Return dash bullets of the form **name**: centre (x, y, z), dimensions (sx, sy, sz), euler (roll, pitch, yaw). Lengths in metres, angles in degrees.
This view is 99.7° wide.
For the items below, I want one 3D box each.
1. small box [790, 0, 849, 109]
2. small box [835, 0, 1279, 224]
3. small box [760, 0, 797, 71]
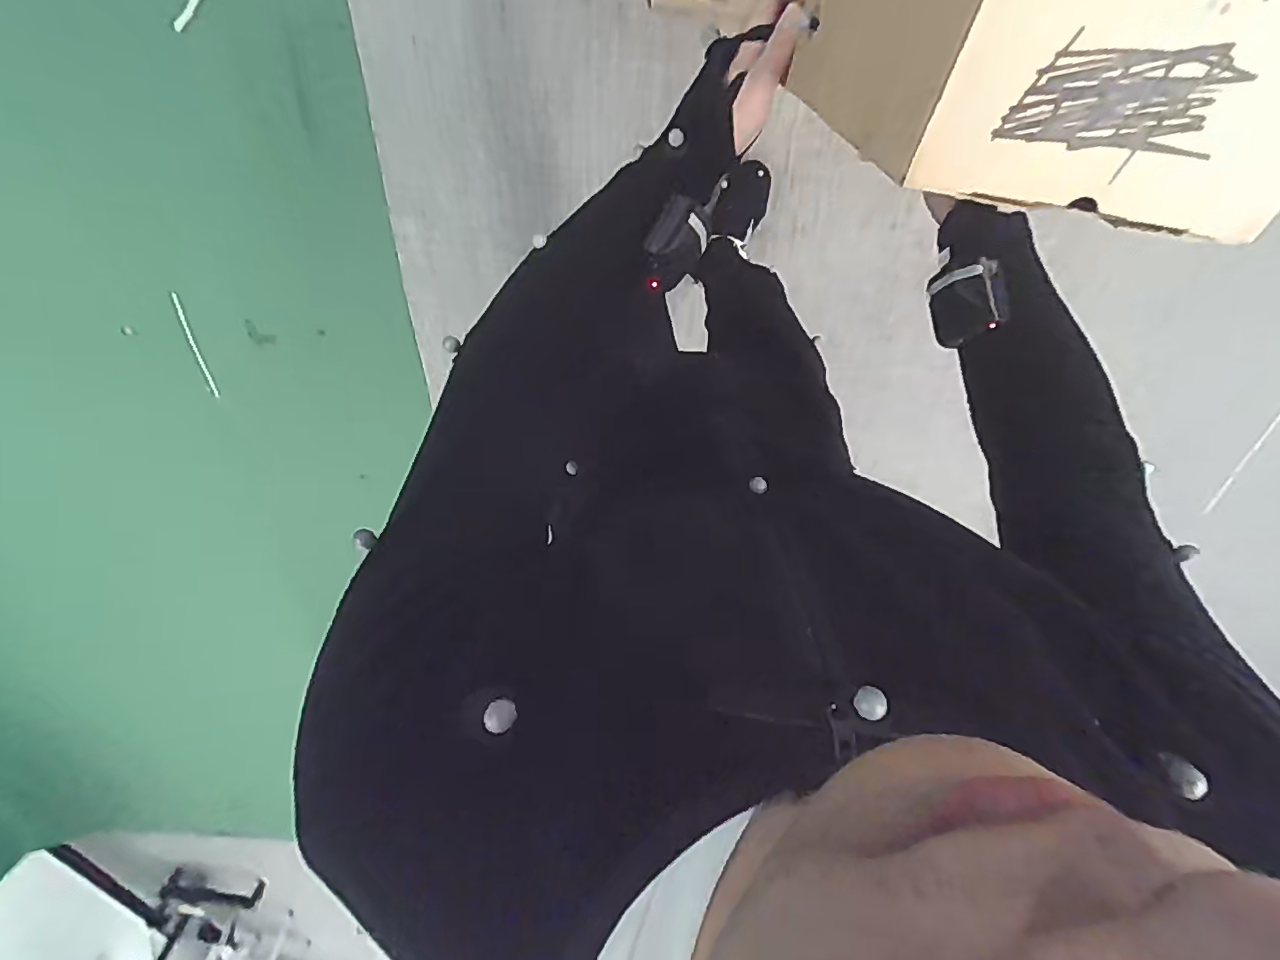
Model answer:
- **small box**: centre (0.211, -0.352, 0.360), dimensions (0.168, 0.176, 0.179), euler (8, 132, -5)
- **small box**: centre (0.205, -0.242, 0.239), dimensions (0.168, 0.176, 0.179), euler (7, 132, -5)
- **small box**: centre (0.213, -0.467, 0.477), dimensions (0.168, 0.176, 0.179), euler (8, 133, -5)
